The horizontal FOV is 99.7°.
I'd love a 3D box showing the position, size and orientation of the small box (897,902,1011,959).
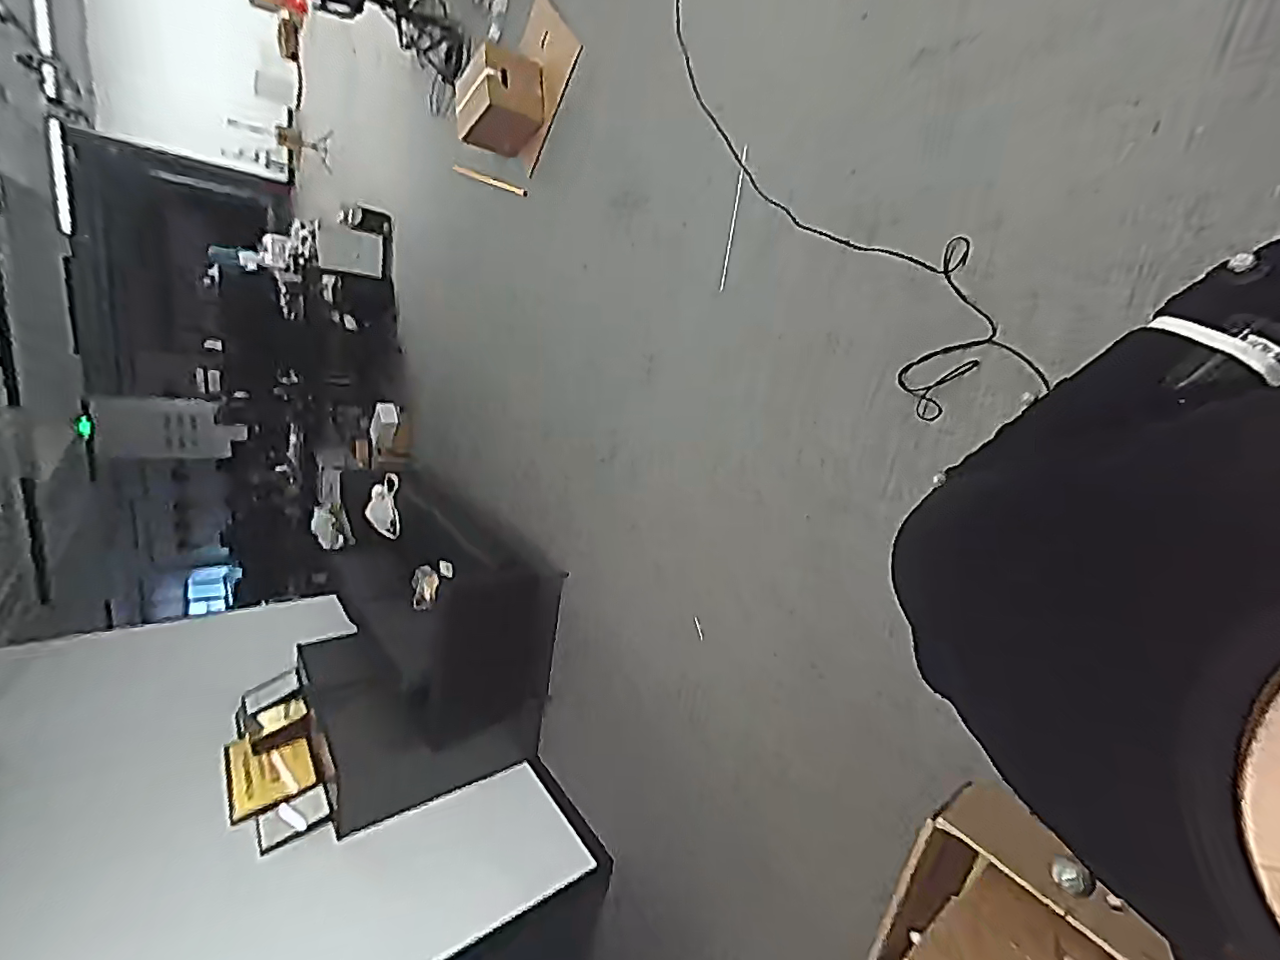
[{"bbox_3d":[0.460,0.768,0.771,0.179,0.176,0.168,34,117,46],"label":"small box"}]
